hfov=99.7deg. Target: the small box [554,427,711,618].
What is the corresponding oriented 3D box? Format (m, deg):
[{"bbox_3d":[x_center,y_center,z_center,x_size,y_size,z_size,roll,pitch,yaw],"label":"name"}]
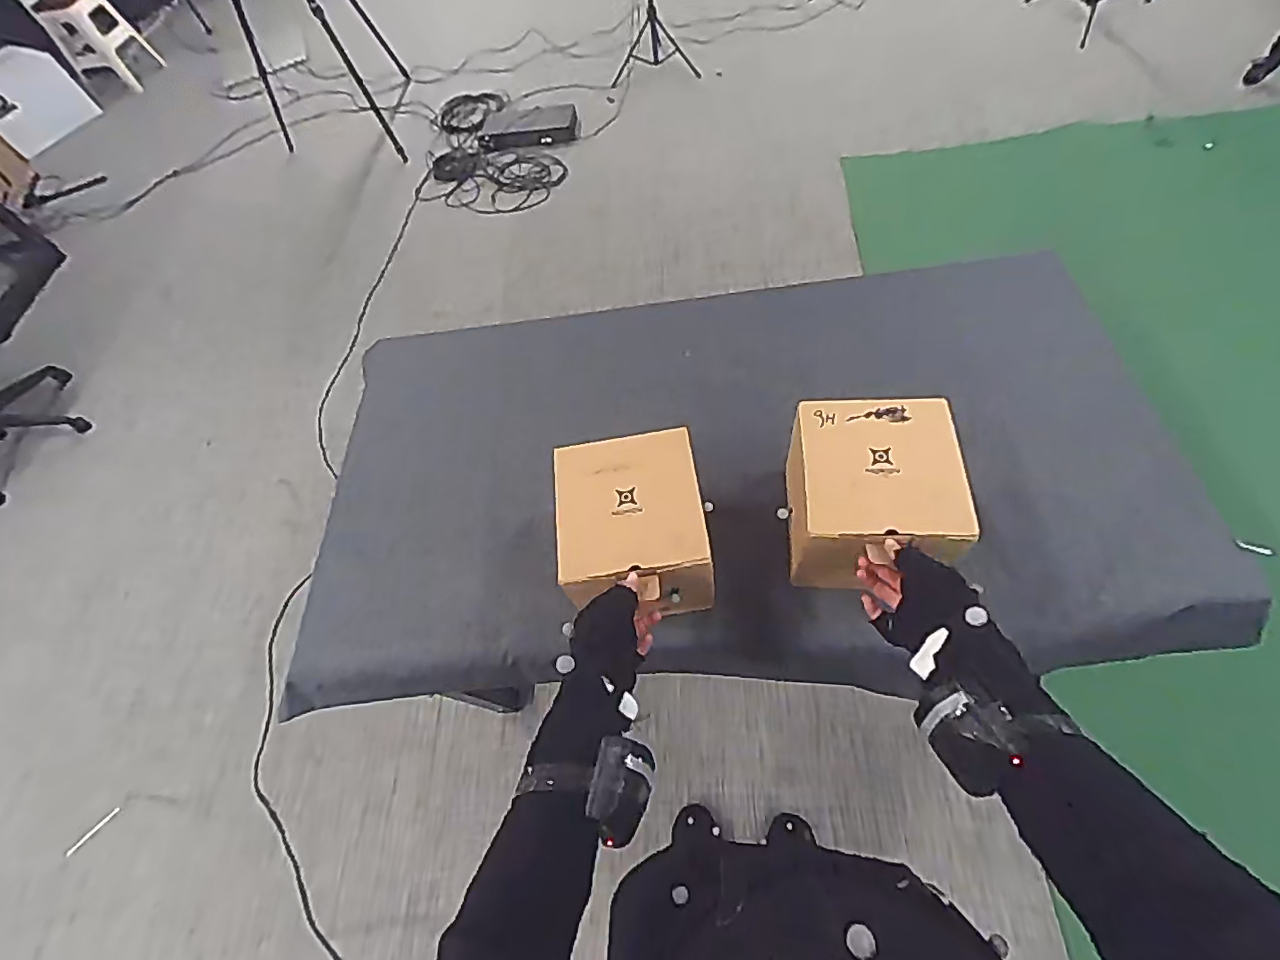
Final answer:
[{"bbox_3d":[-0.005,0.063,0.675,0.168,0.176,0.179,-9,58,2],"label":"small box"}]
